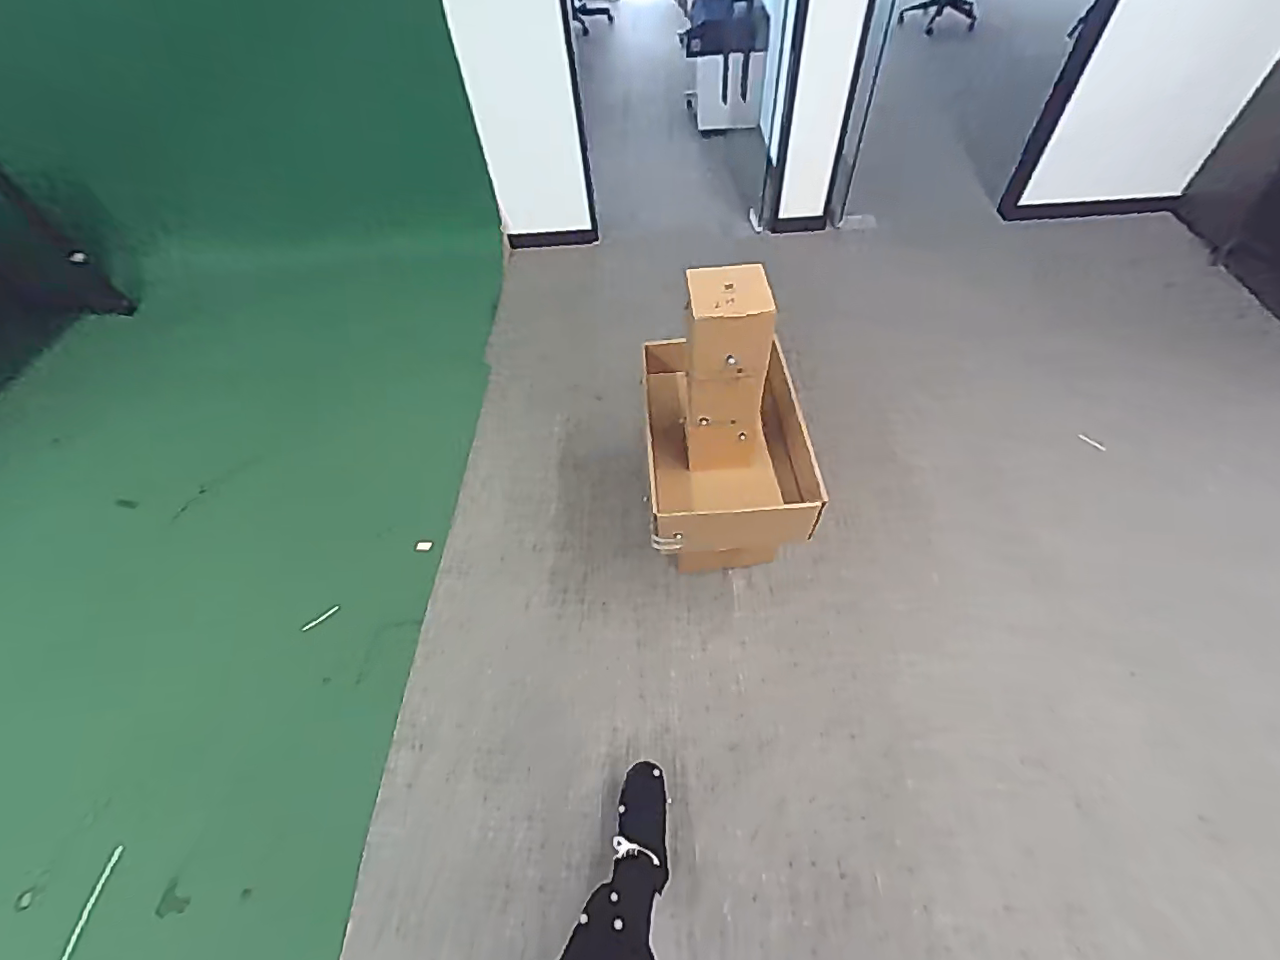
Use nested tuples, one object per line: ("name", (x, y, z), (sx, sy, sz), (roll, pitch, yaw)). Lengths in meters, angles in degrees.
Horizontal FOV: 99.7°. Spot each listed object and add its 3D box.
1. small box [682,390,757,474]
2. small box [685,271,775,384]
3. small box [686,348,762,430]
("small box", (0.204, -0.128, 1.437), (0.179, 0.176, 0.168), (-3, 52, 1))
("small box", (0.187, -0.331, 1.179), (0.168, 0.176, 0.179), (-3, 52, 2))
("small box", (0.197, -0.233, 1.311), (0.168, 0.176, 0.179), (-2, 51, 2))
